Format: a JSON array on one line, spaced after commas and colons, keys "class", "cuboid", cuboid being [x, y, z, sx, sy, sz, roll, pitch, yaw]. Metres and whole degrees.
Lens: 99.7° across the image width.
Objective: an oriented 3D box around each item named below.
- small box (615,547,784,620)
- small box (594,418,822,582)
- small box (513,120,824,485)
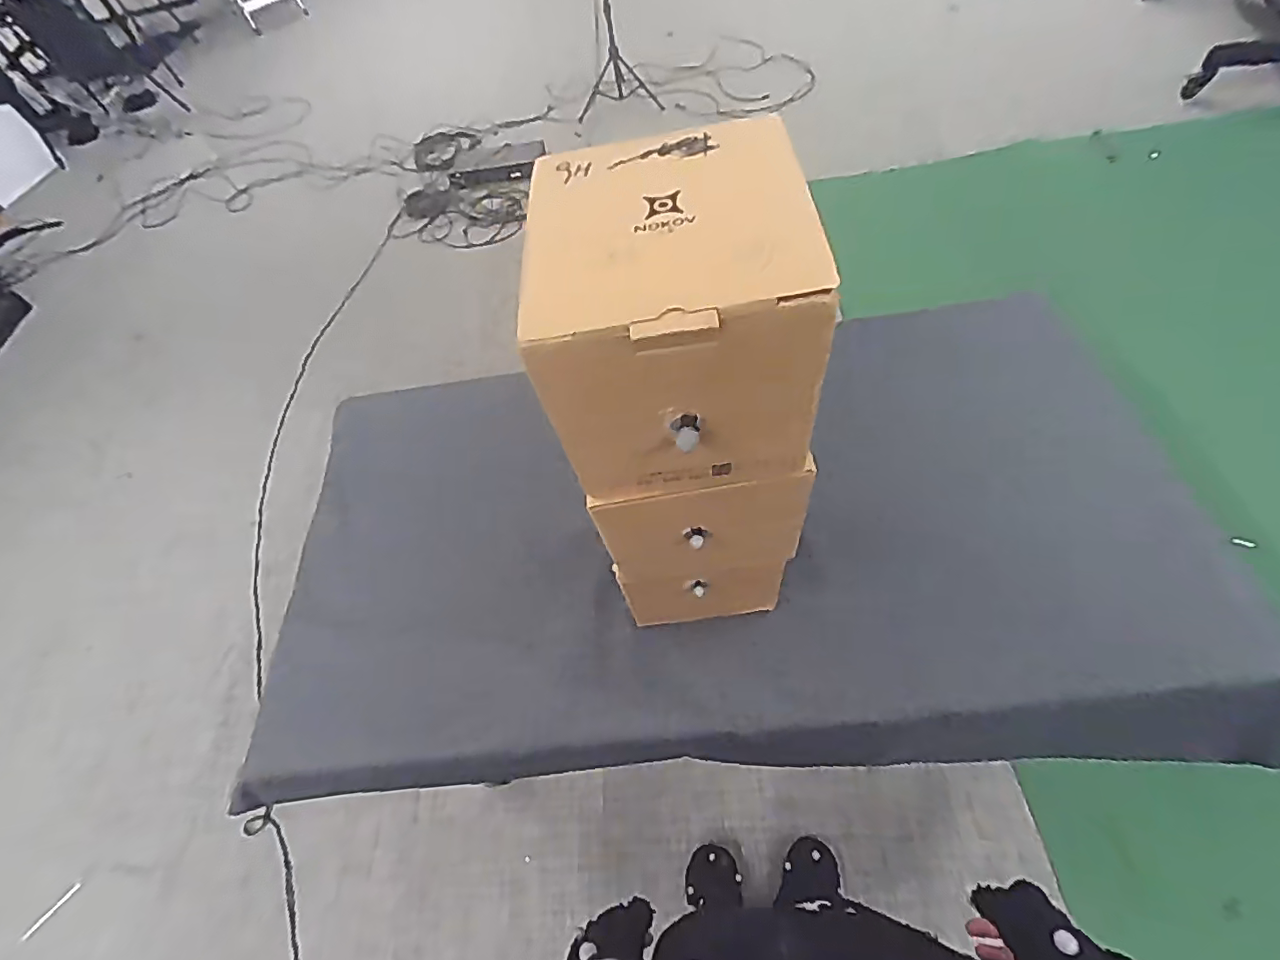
[{"class": "small box", "cuboid": [0.066, 0.062, 0.659, 0.179, 0.176, 0.168, -8, 59, 4]}, {"class": "small box", "cuboid": [0.051, -0.018, 0.517, 0.179, 0.176, 0.168, -11, 59, 2]}, {"class": "small box", "cuboid": [0.023, -0.107, 0.383, 0.168, 0.176, 0.179, -6, 60, 7]}]
